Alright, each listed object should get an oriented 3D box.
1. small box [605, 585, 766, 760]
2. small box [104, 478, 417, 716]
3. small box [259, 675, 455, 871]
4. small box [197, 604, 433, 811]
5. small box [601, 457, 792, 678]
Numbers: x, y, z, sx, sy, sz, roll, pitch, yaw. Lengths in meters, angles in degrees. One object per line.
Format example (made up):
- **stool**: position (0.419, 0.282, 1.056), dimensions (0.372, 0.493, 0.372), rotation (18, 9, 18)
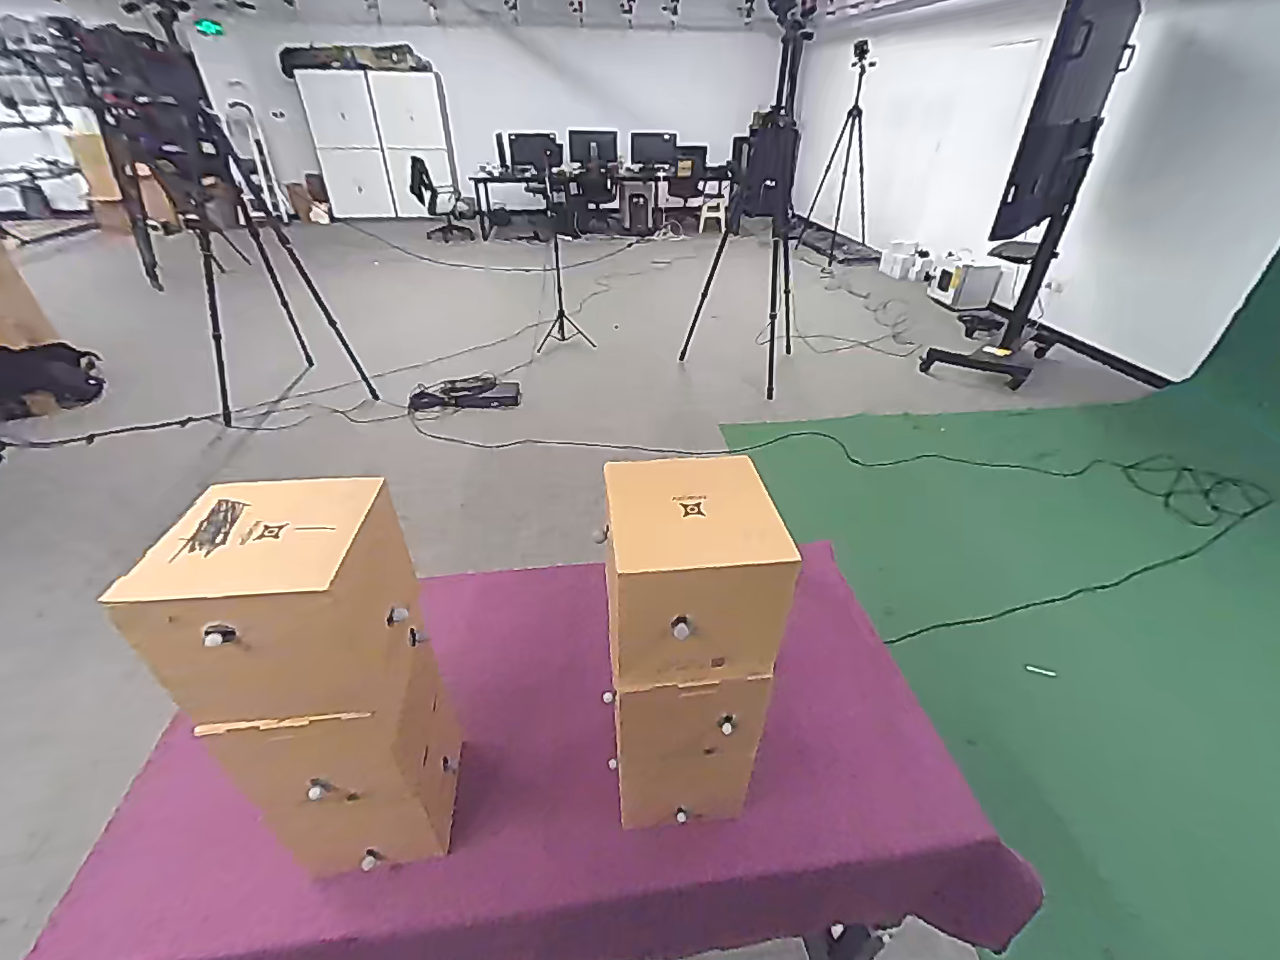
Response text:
- **small box**: position (0.046, 0.228, 0.678), dimensions (0.168, 0.176, 0.179), rotation (-3, 35, -6)
- **small box**: position (-0.345, 0.115, 0.541), dimensions (0.179, 0.176, 0.168), rotation (-2, 35, -6)
- **small box**: position (-0.355, 0.389, 0.724), dimensions (0.179, 0.176, 0.168), rotation (-4, 35, -8)
- **small box**: position (-0.353, 0.251, 0.634), dimensions (0.168, 0.176, 0.179), rotation (-4, 35, -6)
- **small box**: position (0.047, 0.095, 0.584), dimensions (0.168, 0.176, 0.179), rotation (-3, 35, -6)
